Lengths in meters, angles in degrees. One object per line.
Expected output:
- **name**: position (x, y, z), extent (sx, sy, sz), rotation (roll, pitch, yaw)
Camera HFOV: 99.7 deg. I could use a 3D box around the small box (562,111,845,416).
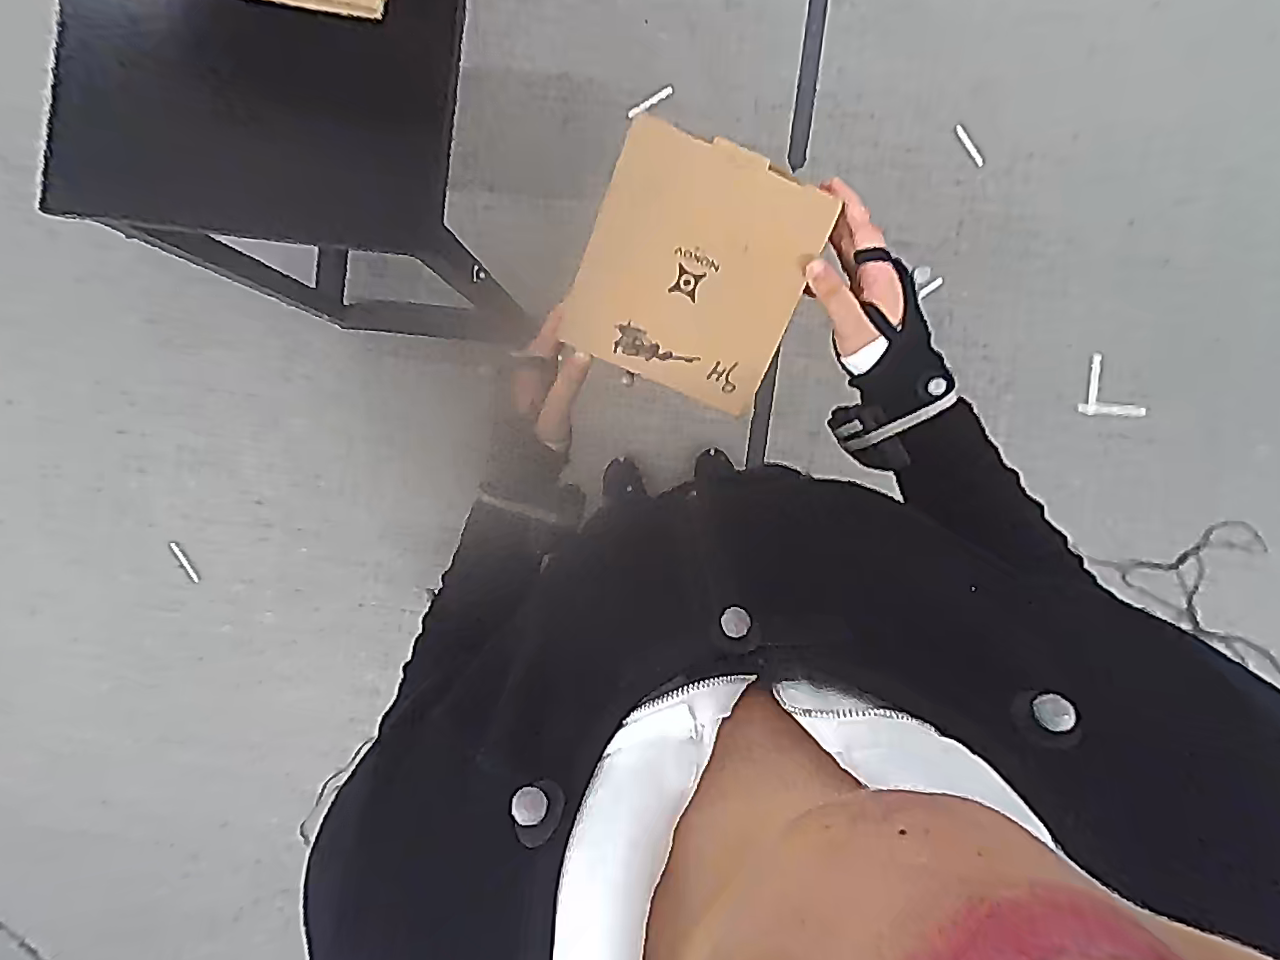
- **small box**: position (0.050, -0.175, 0.488), extent (0.168, 0.176, 0.179), rotation (24, 103, 1)
